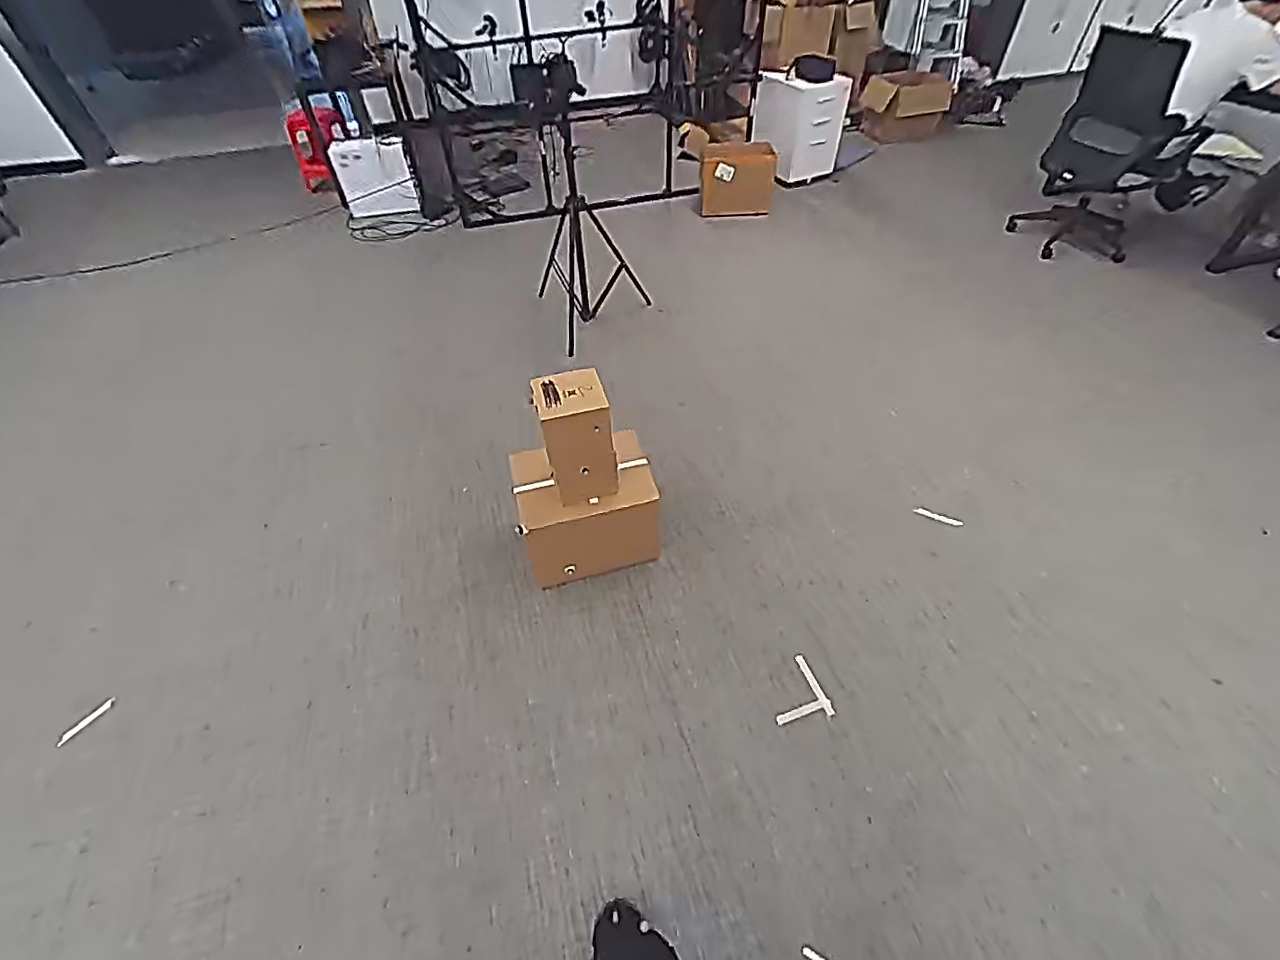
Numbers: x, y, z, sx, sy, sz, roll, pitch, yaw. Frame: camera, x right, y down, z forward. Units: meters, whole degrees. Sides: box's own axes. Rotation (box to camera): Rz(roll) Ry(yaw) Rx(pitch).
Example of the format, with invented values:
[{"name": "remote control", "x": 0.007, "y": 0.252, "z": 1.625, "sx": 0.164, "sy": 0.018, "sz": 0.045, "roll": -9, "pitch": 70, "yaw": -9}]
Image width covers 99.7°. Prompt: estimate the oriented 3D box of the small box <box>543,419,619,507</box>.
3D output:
[{"name": "small box", "x": -0.165, "y": -0.044, "z": 1.541, "sx": 0.179, "sy": 0.176, "sz": 0.168, "roll": -14, "pitch": 50, "yaw": -12}]
